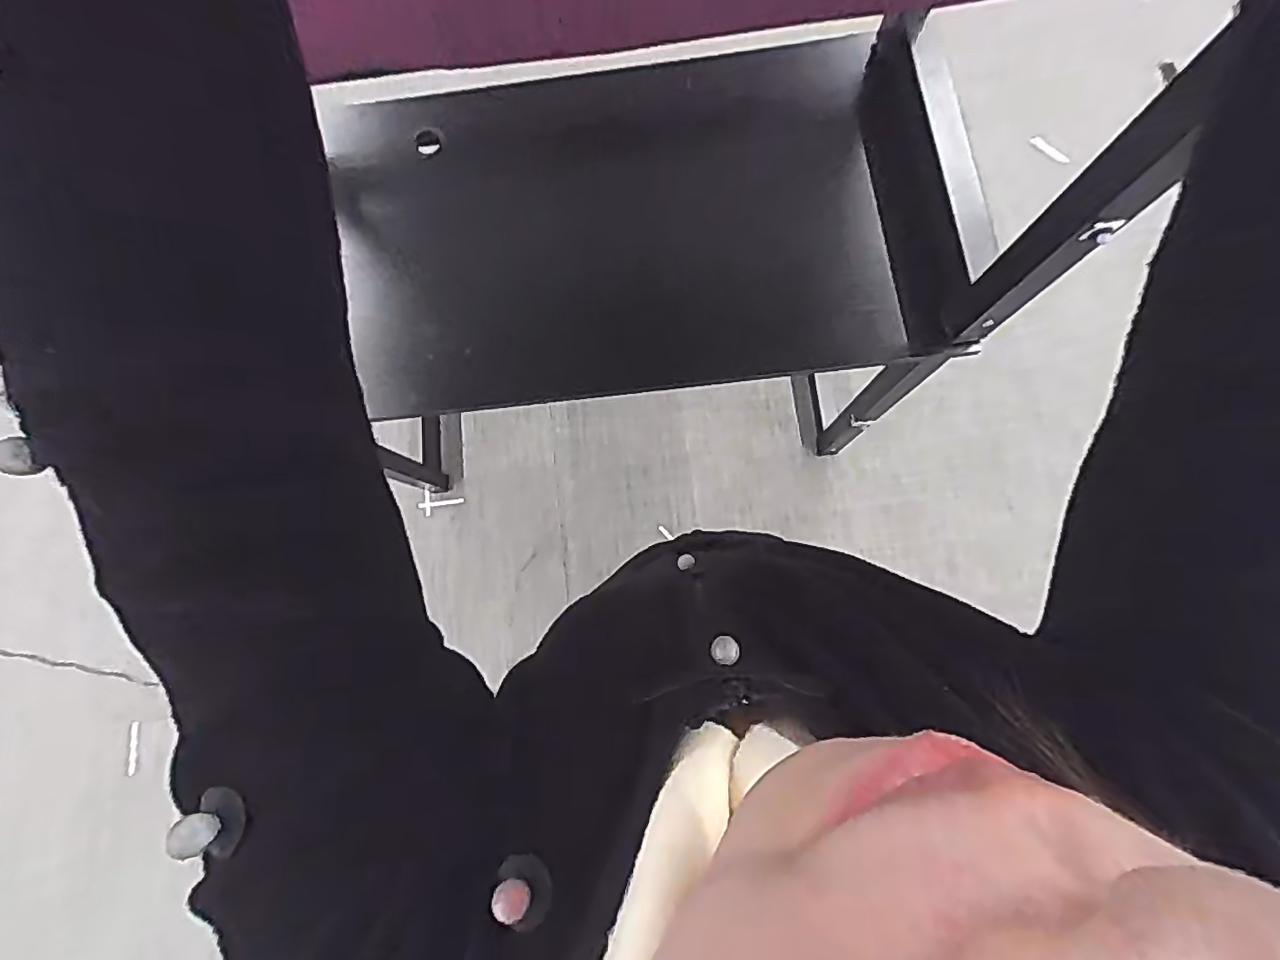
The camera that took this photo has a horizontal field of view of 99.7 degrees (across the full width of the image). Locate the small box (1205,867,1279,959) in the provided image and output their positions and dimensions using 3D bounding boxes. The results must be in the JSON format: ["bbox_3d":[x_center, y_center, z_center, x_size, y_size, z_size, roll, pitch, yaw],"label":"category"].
[{"bbox_3d":[1.440,0.992,1.202,0.179,0.176,0.168,-4,79,3],"label":"small box"}]
